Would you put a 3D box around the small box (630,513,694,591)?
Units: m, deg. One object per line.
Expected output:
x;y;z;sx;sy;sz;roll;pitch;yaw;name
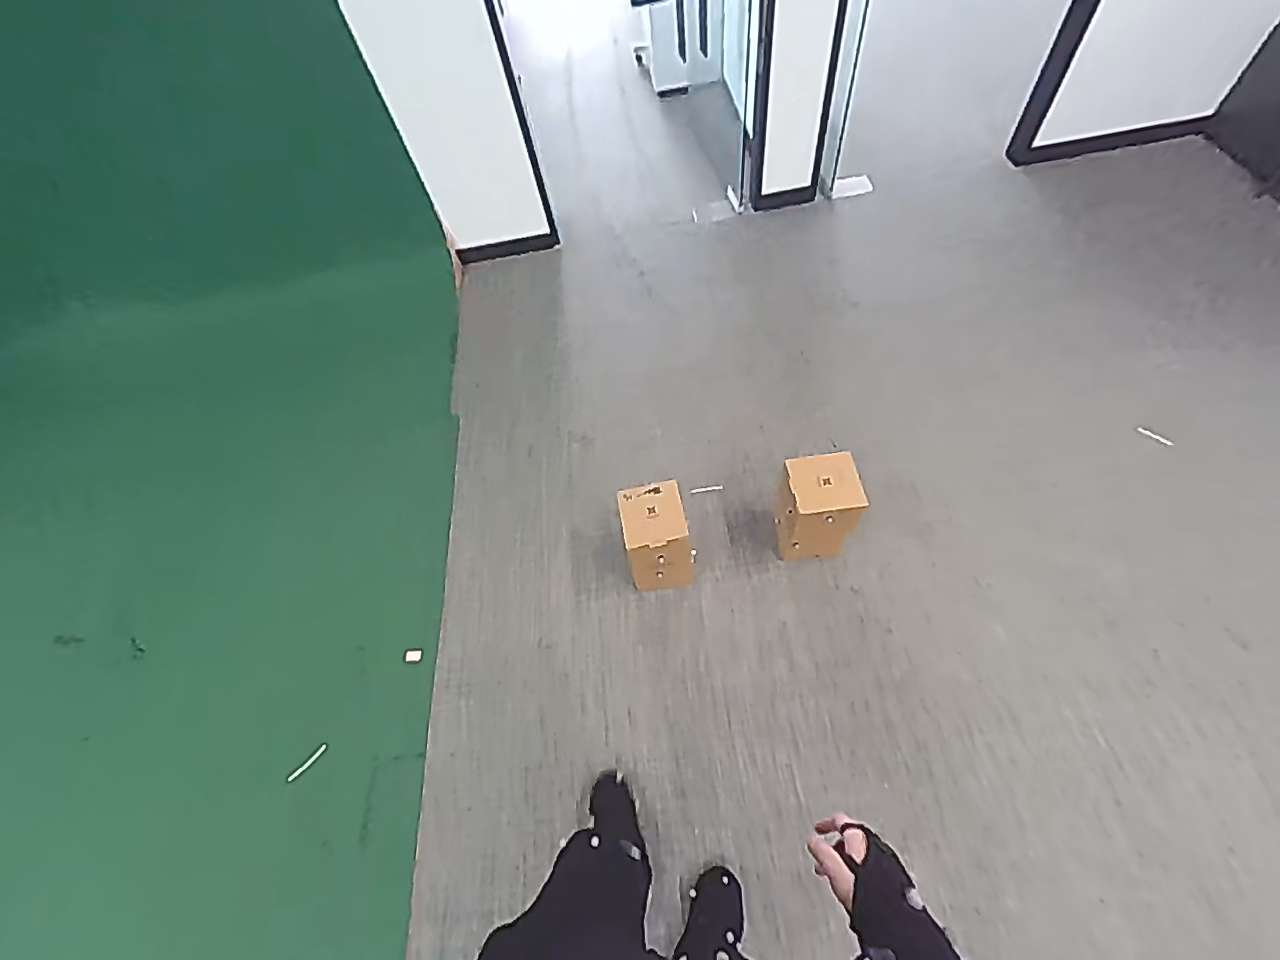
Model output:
0.061;0.219;1.610;0.179;0.176;0.168;-9;58;1;small box

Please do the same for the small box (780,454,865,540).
0.482;0.052;1.462;0.179;0.176;0.168;-7;59;2;small box

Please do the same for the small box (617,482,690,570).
0.039;0.134;1.472;0.168;0.176;0.179;-11;59;0;small box
